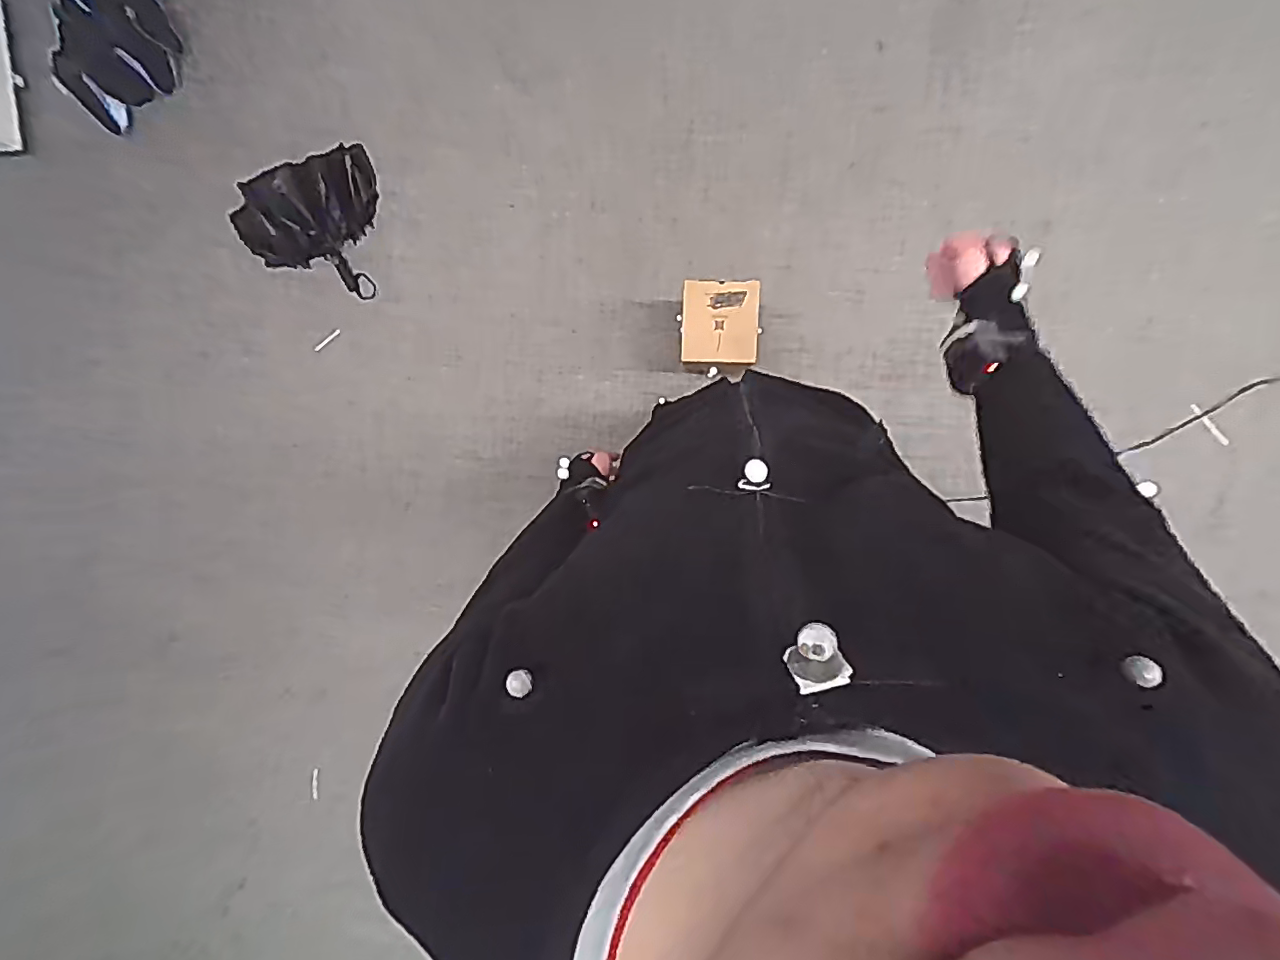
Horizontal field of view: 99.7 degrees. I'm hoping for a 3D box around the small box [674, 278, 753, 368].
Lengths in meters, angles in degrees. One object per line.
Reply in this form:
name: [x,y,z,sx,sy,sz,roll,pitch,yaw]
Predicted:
small box: [0.165,-0.360,1.261,0.168,0.176,0.179,3,98,5]
